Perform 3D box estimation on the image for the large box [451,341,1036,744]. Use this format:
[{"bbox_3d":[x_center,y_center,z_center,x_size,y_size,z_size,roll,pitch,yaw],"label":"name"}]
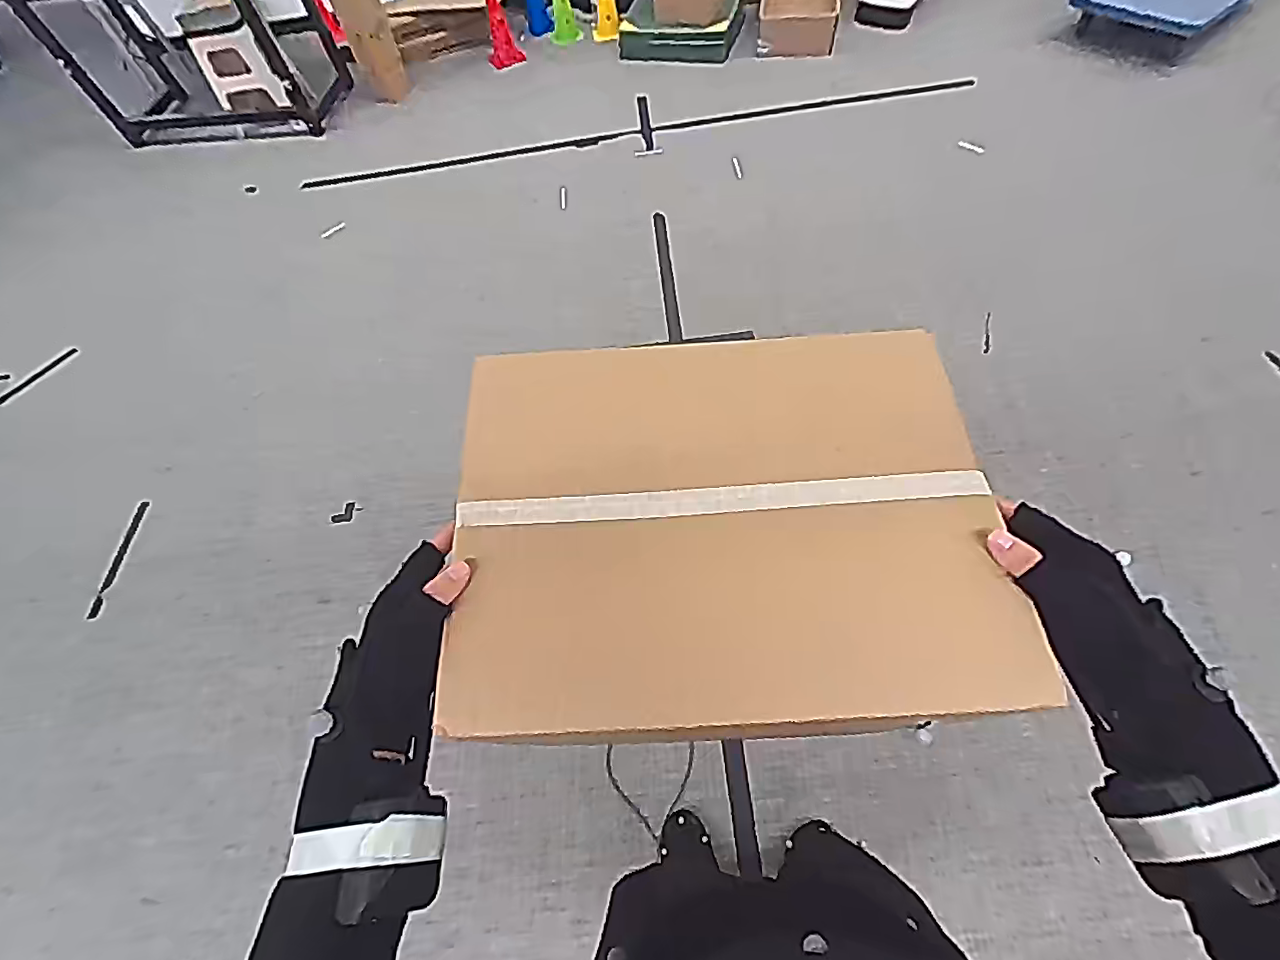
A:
[{"bbox_3d":[0.069,0.090,0.560,0.408,0.320,0.320,-4,62,1],"label":"large box"}]
